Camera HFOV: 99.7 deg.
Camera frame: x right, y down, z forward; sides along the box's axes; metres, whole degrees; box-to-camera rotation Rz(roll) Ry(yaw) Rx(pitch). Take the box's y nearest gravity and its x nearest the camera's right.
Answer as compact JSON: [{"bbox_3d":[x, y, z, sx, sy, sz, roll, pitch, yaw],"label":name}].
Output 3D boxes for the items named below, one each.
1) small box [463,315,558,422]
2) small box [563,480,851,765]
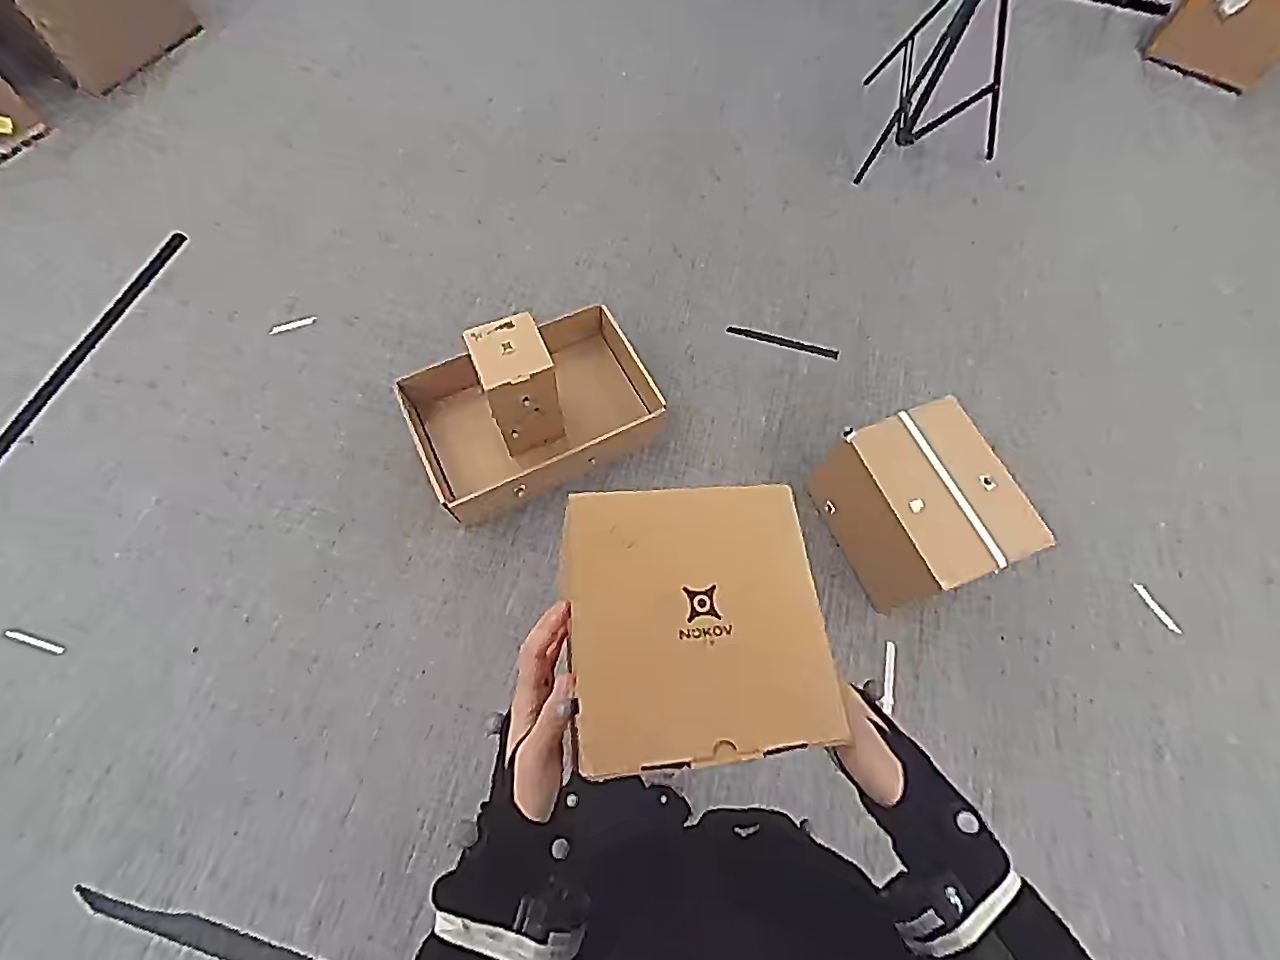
[{"bbox_3d":[-0.306,-0.260,1.309,0.168,0.176,0.179,-21,70,-12],"label":"small box"},{"bbox_3d":[0.029,0.114,0.425,0.168,0.176,0.179,-2,66,-11],"label":"small box"}]
